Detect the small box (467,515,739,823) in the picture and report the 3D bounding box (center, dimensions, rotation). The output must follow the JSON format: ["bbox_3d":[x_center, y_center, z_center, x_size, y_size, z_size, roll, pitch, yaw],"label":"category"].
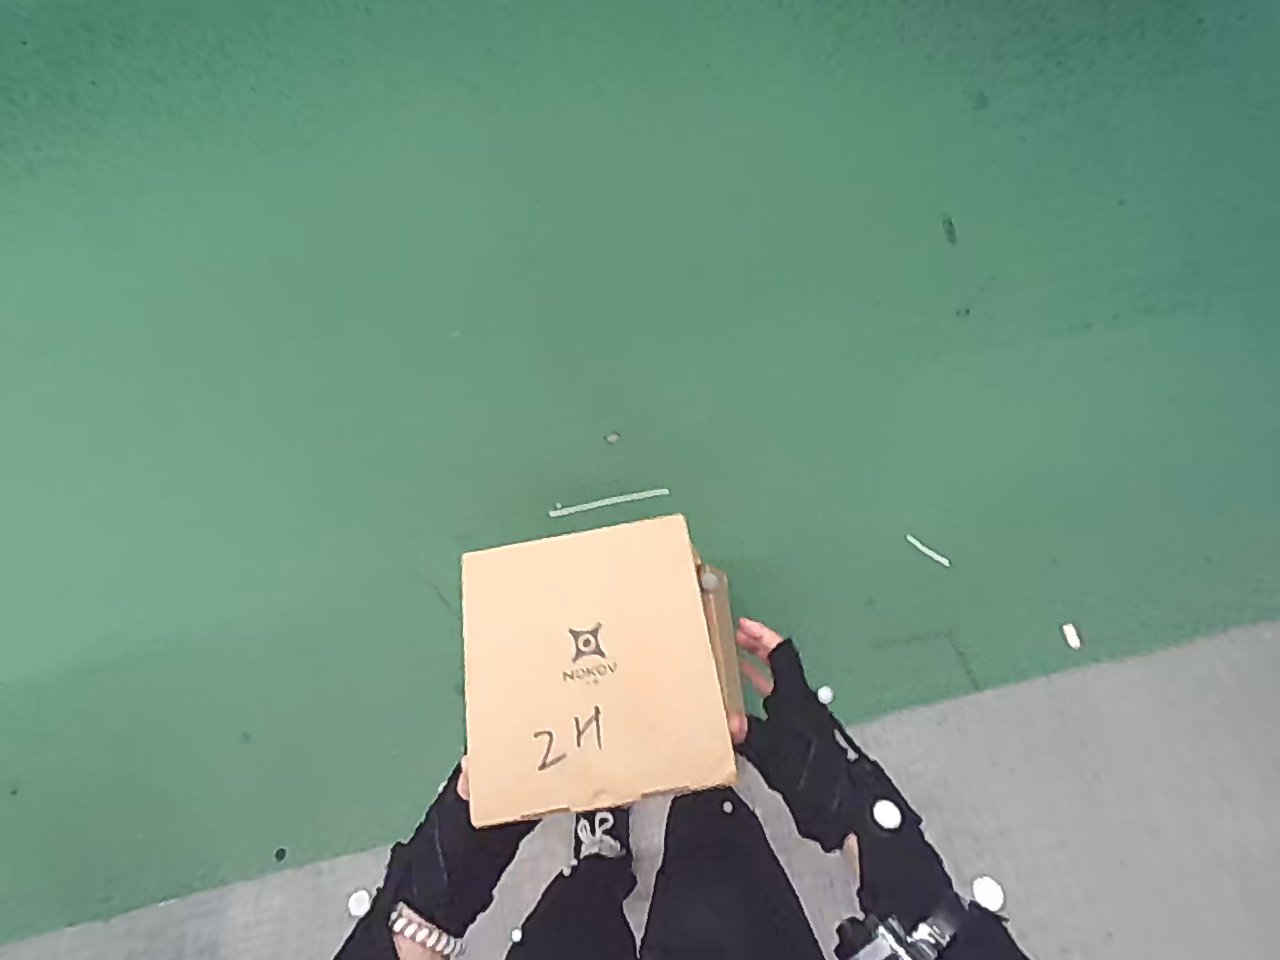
[{"bbox_3d":[-0.027,0.146,0.427,0.168,0.176,0.179,-9,67,1],"label":"small box"}]
